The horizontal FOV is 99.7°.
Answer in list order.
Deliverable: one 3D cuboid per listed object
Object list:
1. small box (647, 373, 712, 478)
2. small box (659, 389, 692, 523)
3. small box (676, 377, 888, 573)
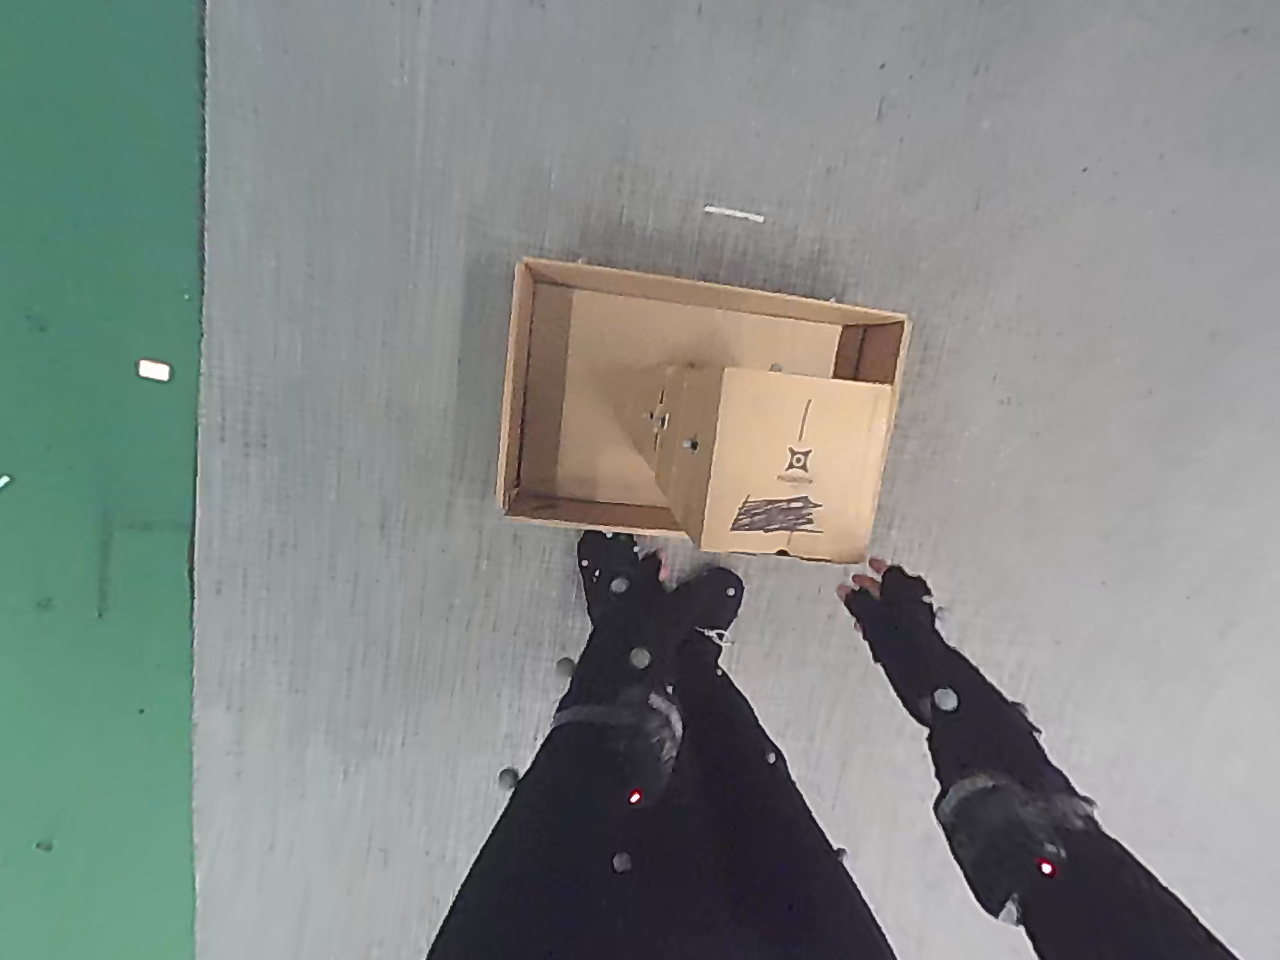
[{"bbox_3d":[0.110,-0.085,0.915,0.179,0.176,0.168,4,98,-6],"label":"small box"},{"bbox_3d":[0.128,-0.037,0.741,0.179,0.176,0.168,2,99,-6],"label":"small box"},{"bbox_3d":[0.138,-0.014,0.595,0.168,0.176,0.179,6,98,-6],"label":"small box"}]
